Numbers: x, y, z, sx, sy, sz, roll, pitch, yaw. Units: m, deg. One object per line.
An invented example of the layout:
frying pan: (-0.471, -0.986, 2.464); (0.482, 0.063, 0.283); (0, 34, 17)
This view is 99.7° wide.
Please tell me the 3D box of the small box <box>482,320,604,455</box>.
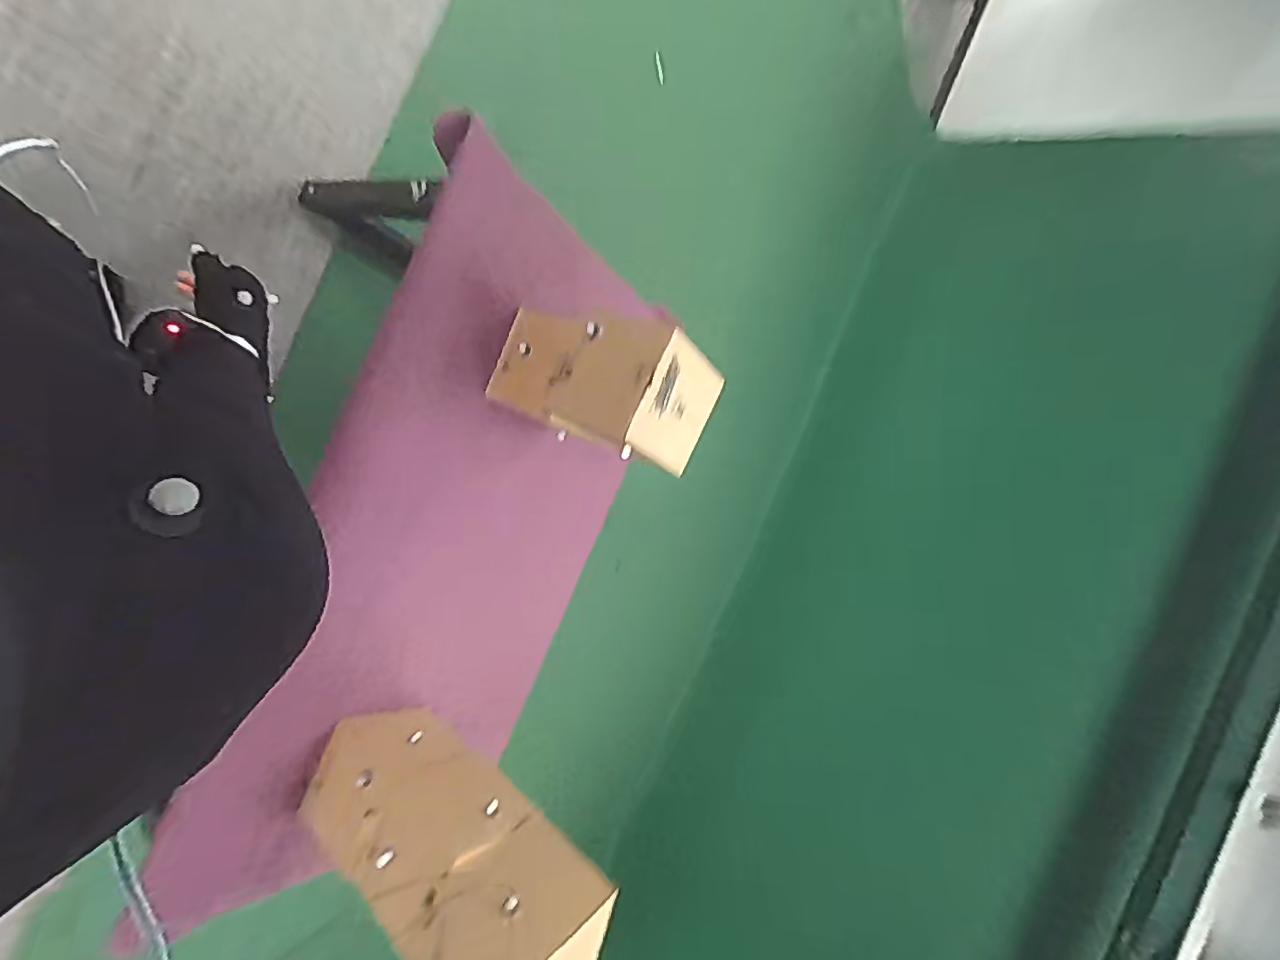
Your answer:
small box: (-0.139, -0.164, 0.950); (0.179, 0.176, 0.168); (22, 91, -55)

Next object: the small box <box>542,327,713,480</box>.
small box: (-0.020, -0.122, 0.844); (0.179, 0.176, 0.168); (30, 85, -55)

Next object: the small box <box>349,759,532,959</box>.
small box: (-0.310, 0.569, 0.843); (0.179, 0.176, 0.168); (20, 92, -56)

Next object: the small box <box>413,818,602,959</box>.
small box: (-0.187, 0.627, 0.753); (0.179, 0.176, 0.168); (1, 109, -55)
